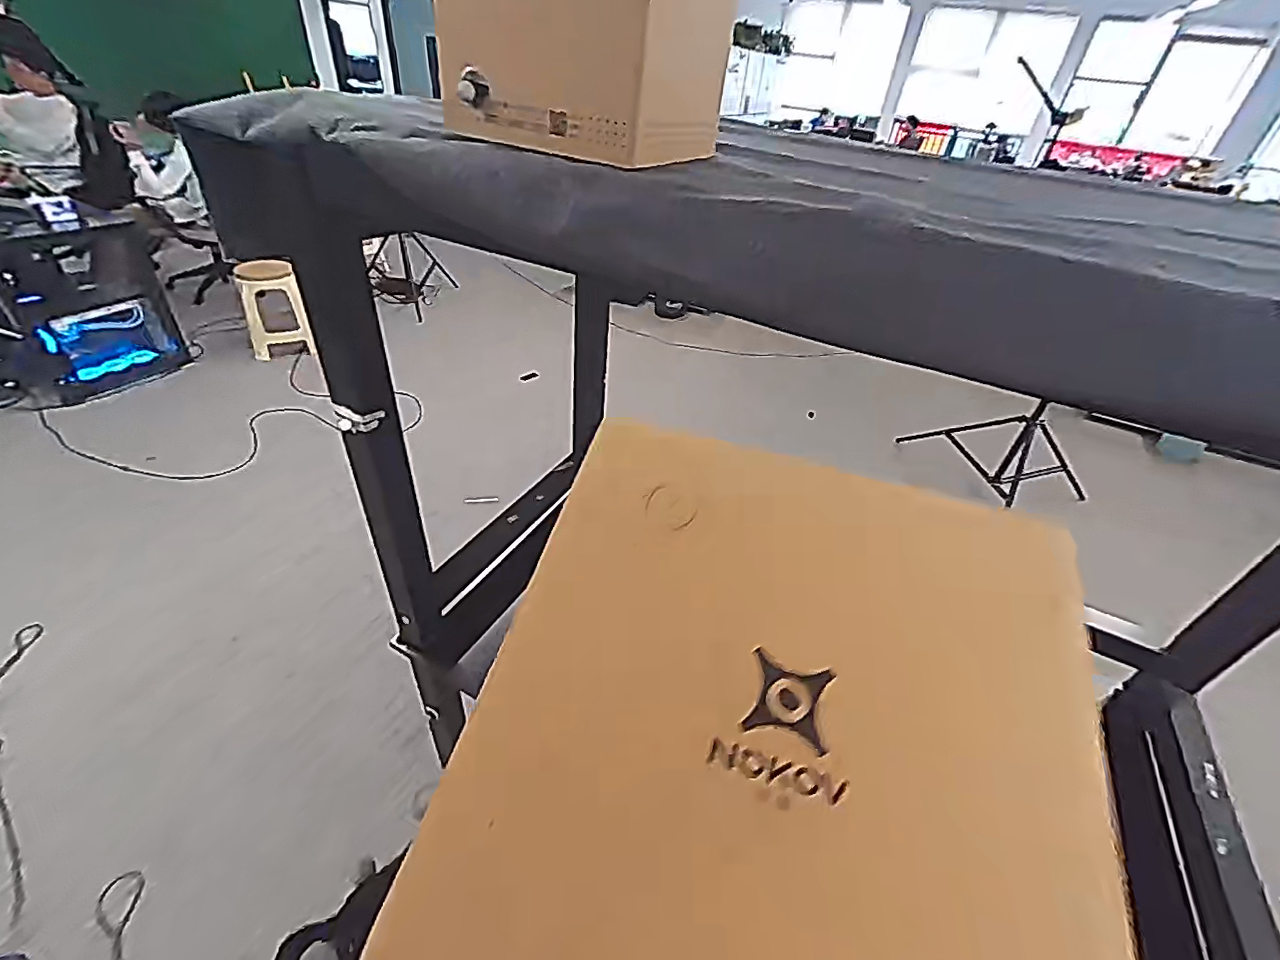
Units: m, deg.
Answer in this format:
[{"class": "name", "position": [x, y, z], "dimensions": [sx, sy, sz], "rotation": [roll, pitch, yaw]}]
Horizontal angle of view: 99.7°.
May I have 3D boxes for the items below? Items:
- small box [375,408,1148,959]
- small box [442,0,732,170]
[{"class": "small box", "position": [0.041, 0.105, 0.215], "dimensions": [0.168, 0.176, 0.179], "rotation": [14, 58, 9]}, {"class": "small box", "position": [-0.032, -0.345, 0.412], "dimensions": [0.168, 0.176, 0.179], "rotation": [21, 37, 16]}]
